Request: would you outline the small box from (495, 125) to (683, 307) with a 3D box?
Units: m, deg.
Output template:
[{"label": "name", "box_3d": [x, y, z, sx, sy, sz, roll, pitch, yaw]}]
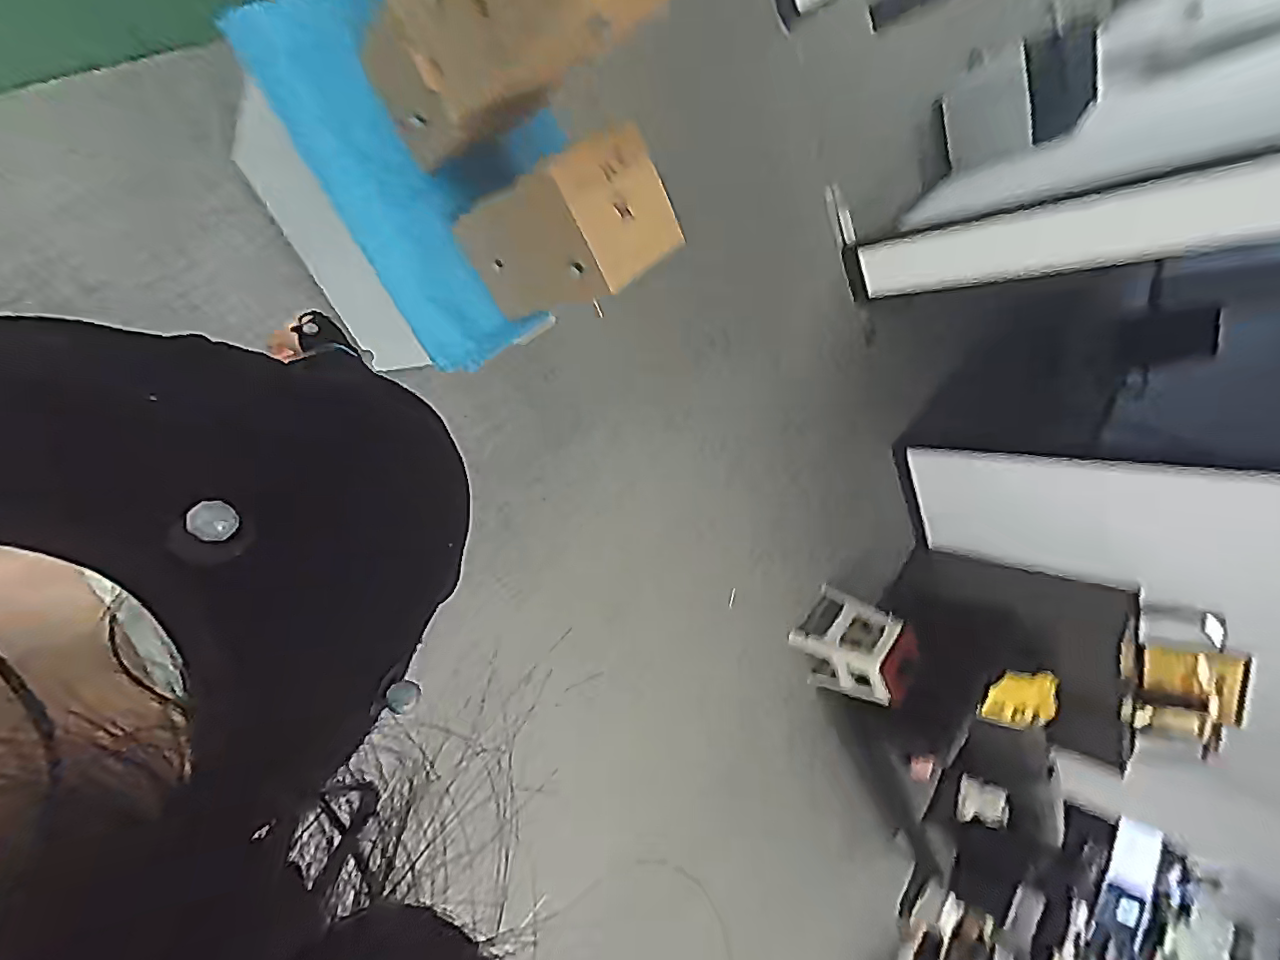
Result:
[{"label": "small box", "box_3d": [-0.075, -0.366, 0.782, 0.168, 0.176, 0.179, -44, 121, -27]}]

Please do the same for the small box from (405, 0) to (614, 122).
[{"label": "small box", "box_3d": [-0.169, -0.579, 0.674, 0.179, 0.176, 0.168, -40, 121, -30]}]

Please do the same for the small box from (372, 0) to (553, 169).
[{"label": "small box", "box_3d": [-0.268, -0.590, 0.801, 0.179, 0.176, 0.168, -41, 122, -29]}]
